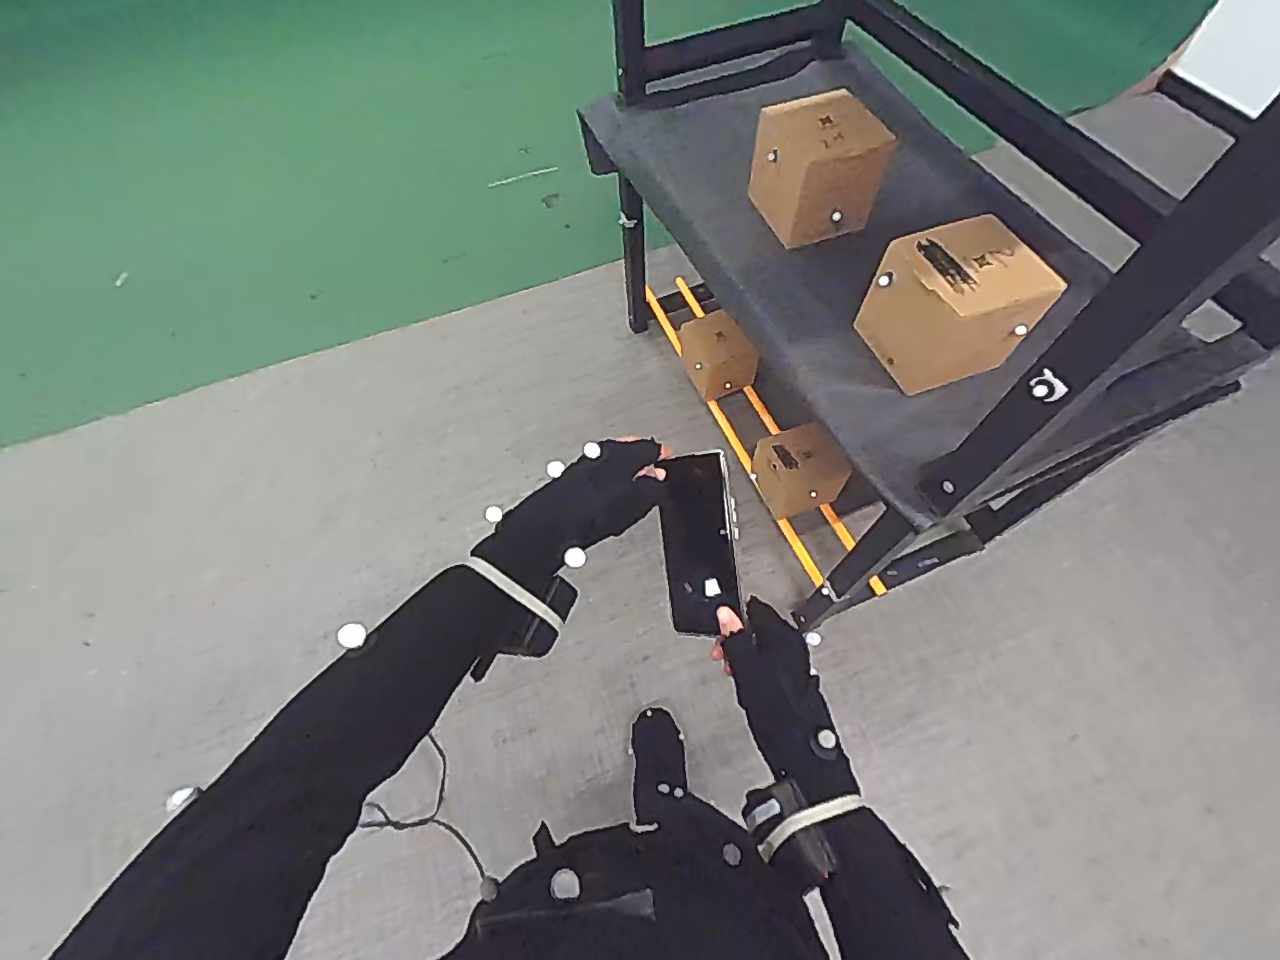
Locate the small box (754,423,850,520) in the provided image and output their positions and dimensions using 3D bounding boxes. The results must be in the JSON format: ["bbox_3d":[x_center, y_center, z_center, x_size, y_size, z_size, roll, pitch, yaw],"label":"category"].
[{"bbox_3d":[0.408,-0.016,1.406,0.179,0.176,0.168,-18,63,-7],"label":"small box"}]

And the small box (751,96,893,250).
[{"bbox_3d":[0.319,-0.560,0.994,0.168,0.176,0.179,-19,62,-8],"label":"small box"}]
